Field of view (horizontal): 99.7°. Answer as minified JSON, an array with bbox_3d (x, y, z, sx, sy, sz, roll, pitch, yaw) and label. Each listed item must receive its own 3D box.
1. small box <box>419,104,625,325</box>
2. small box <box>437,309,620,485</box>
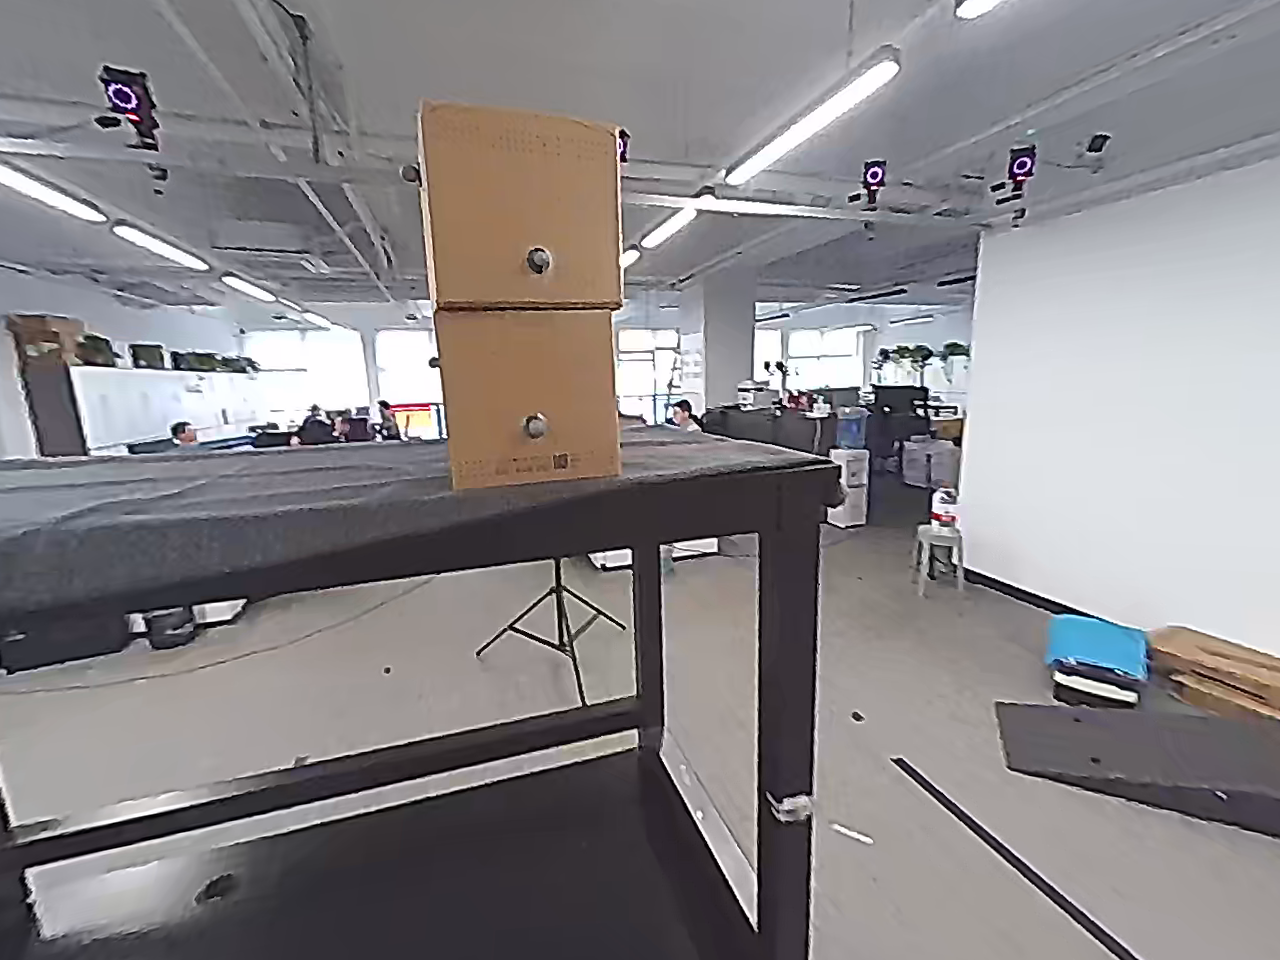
[{"bbox_3d":[-0.126,-0.253,0.558,0.179,0.176,0.168,-5,10,-21],"label":"small box"},{"bbox_3d":[-0.123,-0.090,0.598,0.168,0.176,0.179,-6,11,-16],"label":"small box"}]
